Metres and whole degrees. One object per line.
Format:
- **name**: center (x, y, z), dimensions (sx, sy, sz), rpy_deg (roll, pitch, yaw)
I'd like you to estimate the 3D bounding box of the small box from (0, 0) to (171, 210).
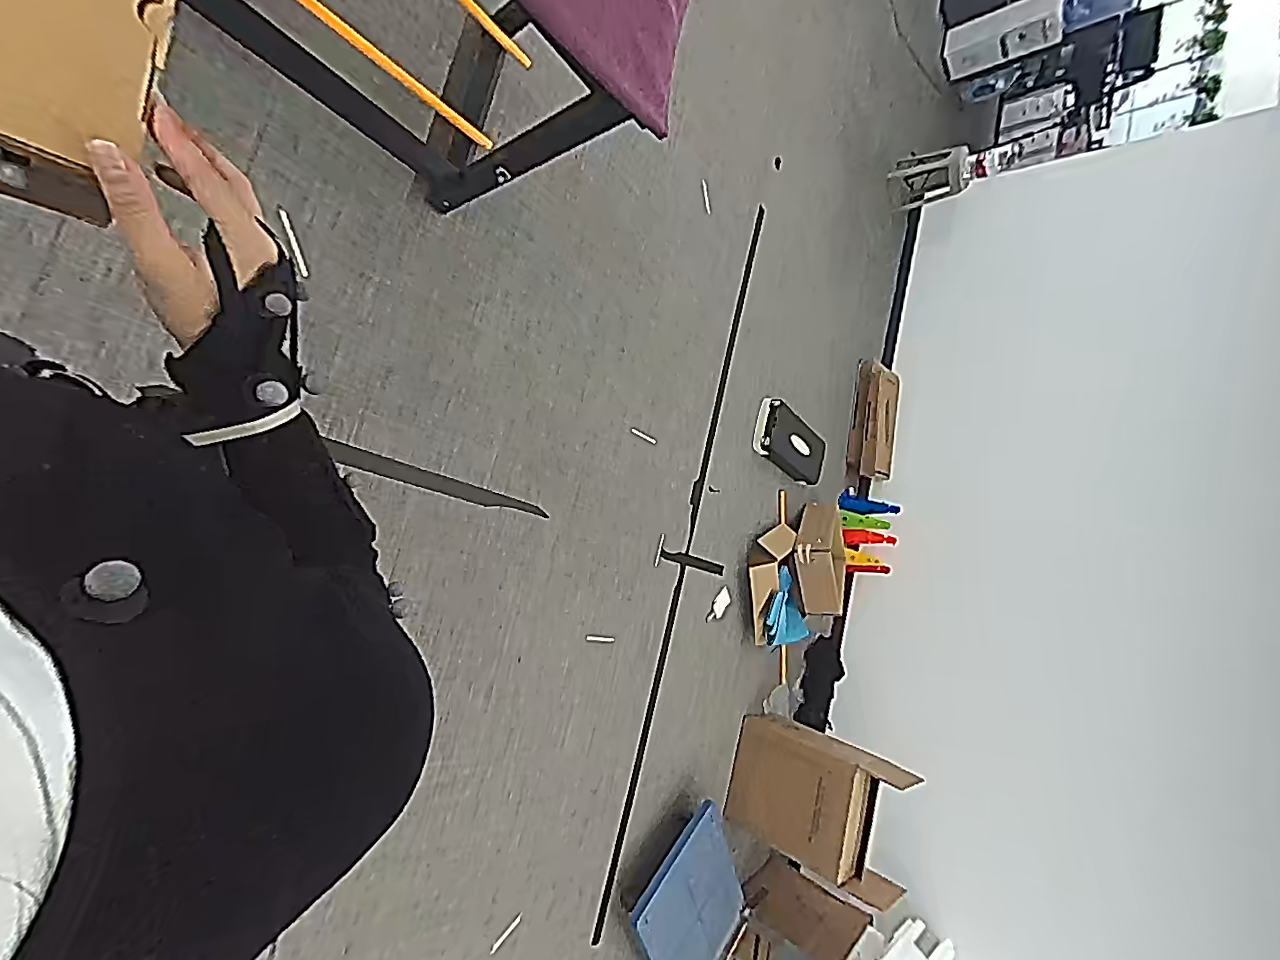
- **small box**: center (-0.354, -0.253, 0.258), dimensions (0.179, 0.176, 0.168), rpy_deg (10, 93, -50)
